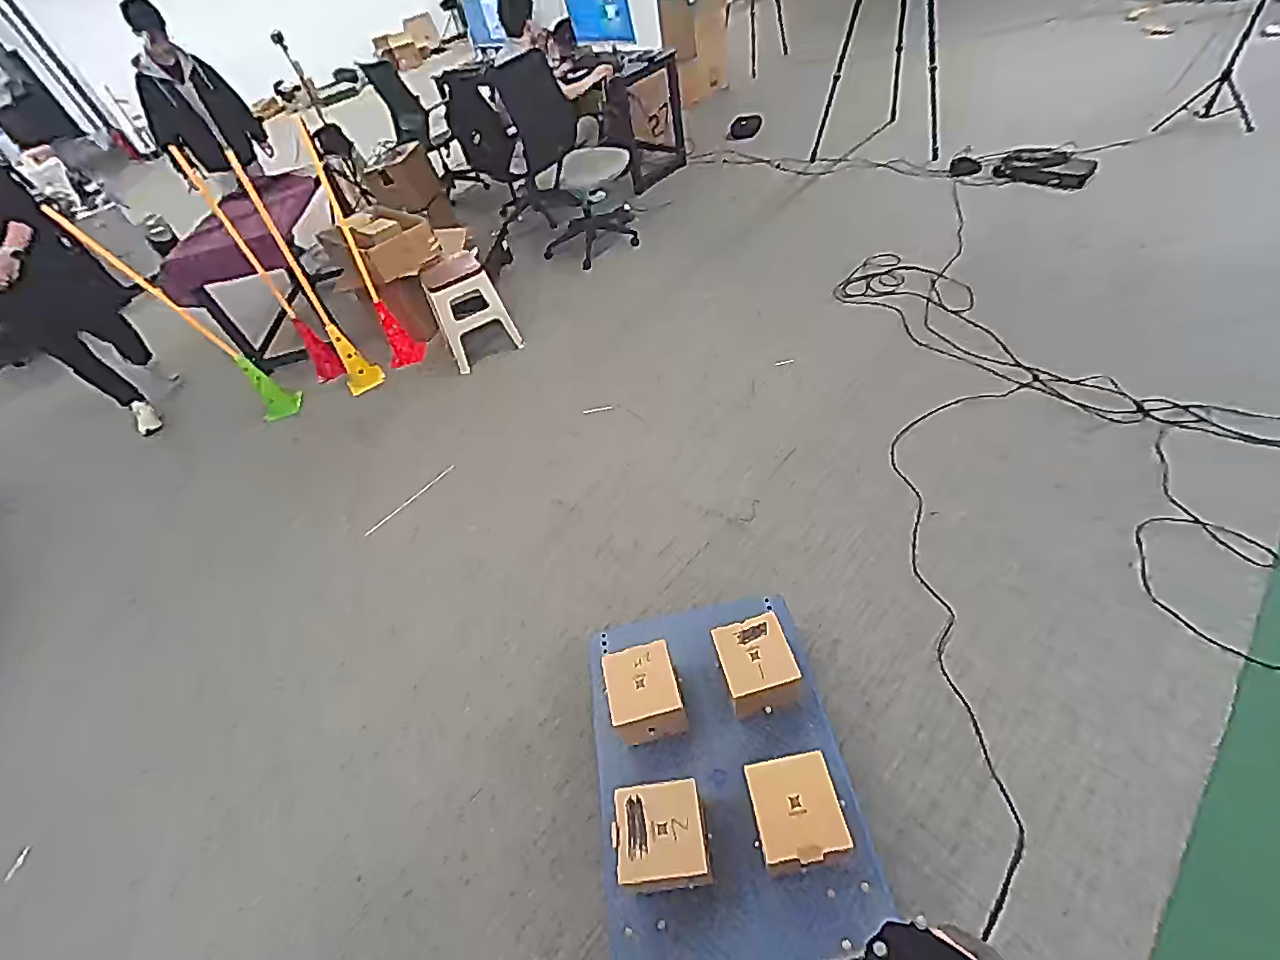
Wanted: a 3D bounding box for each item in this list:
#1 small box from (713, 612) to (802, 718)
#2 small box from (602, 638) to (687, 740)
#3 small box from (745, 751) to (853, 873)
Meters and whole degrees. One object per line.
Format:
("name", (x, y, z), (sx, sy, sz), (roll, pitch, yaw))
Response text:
("small box", (0.285, 0.458, 1.333), (0.168, 0.176, 0.179), (-16, 49, 0))
("small box", (0.014, 0.525, 1.339), (0.168, 0.176, 0.179), (-15, 47, 0))
("small box", (0.319, 0.691, 1.122), (0.168, 0.176, 0.179), (-12, 48, 2))
